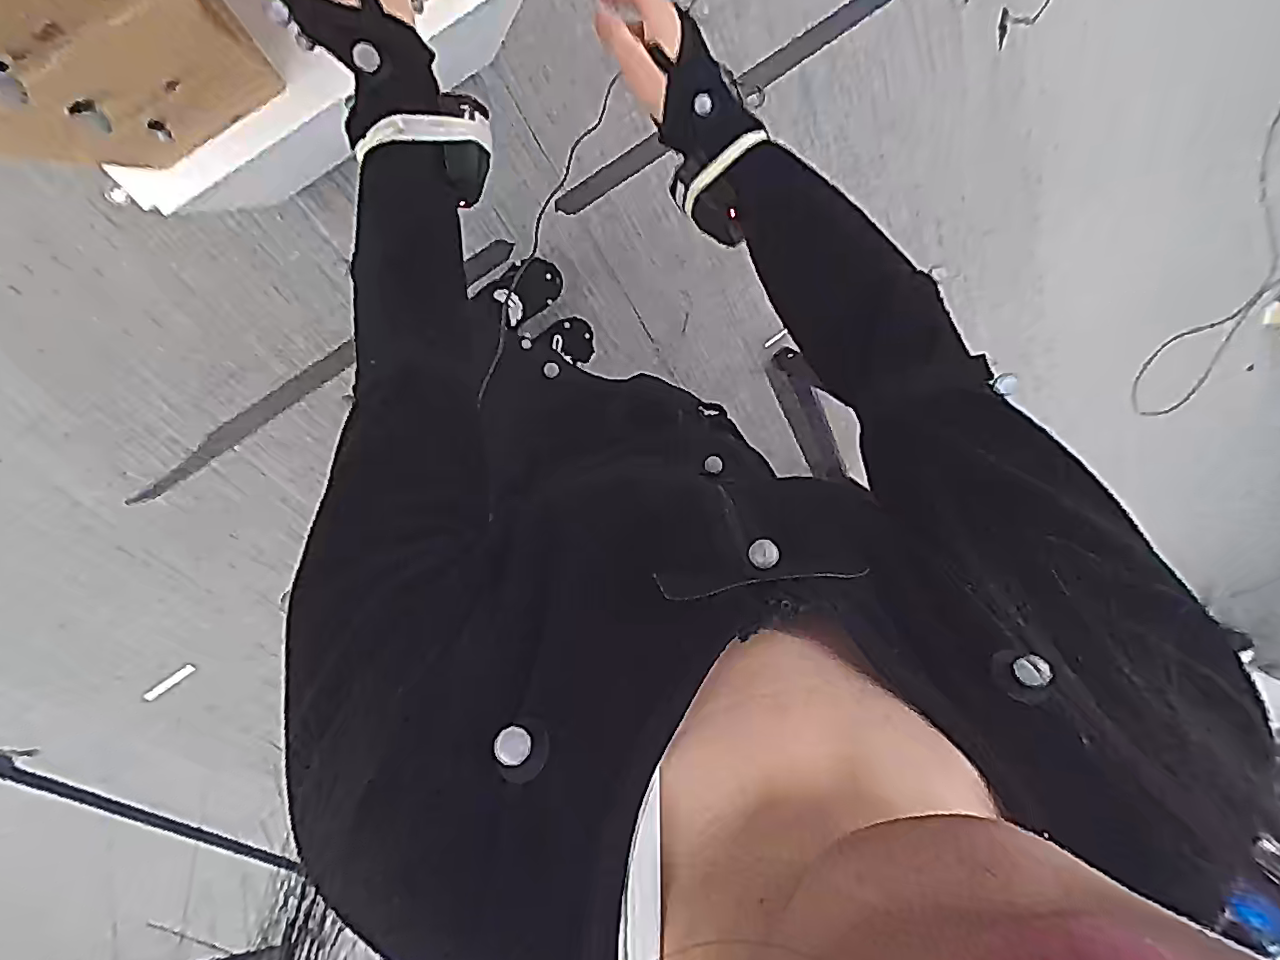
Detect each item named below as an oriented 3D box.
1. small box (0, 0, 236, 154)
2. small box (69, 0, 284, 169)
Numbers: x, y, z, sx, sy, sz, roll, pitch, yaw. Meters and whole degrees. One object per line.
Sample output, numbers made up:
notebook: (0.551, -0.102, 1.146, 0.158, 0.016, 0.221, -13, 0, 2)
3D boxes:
small box: (-0.397, -0.323, 0.323, 0.168, 0.176, 0.179, -36, 123, 0)
small box: (-0.452, -0.395, 0.459, 0.168, 0.176, 0.179, -35, 122, -2)
